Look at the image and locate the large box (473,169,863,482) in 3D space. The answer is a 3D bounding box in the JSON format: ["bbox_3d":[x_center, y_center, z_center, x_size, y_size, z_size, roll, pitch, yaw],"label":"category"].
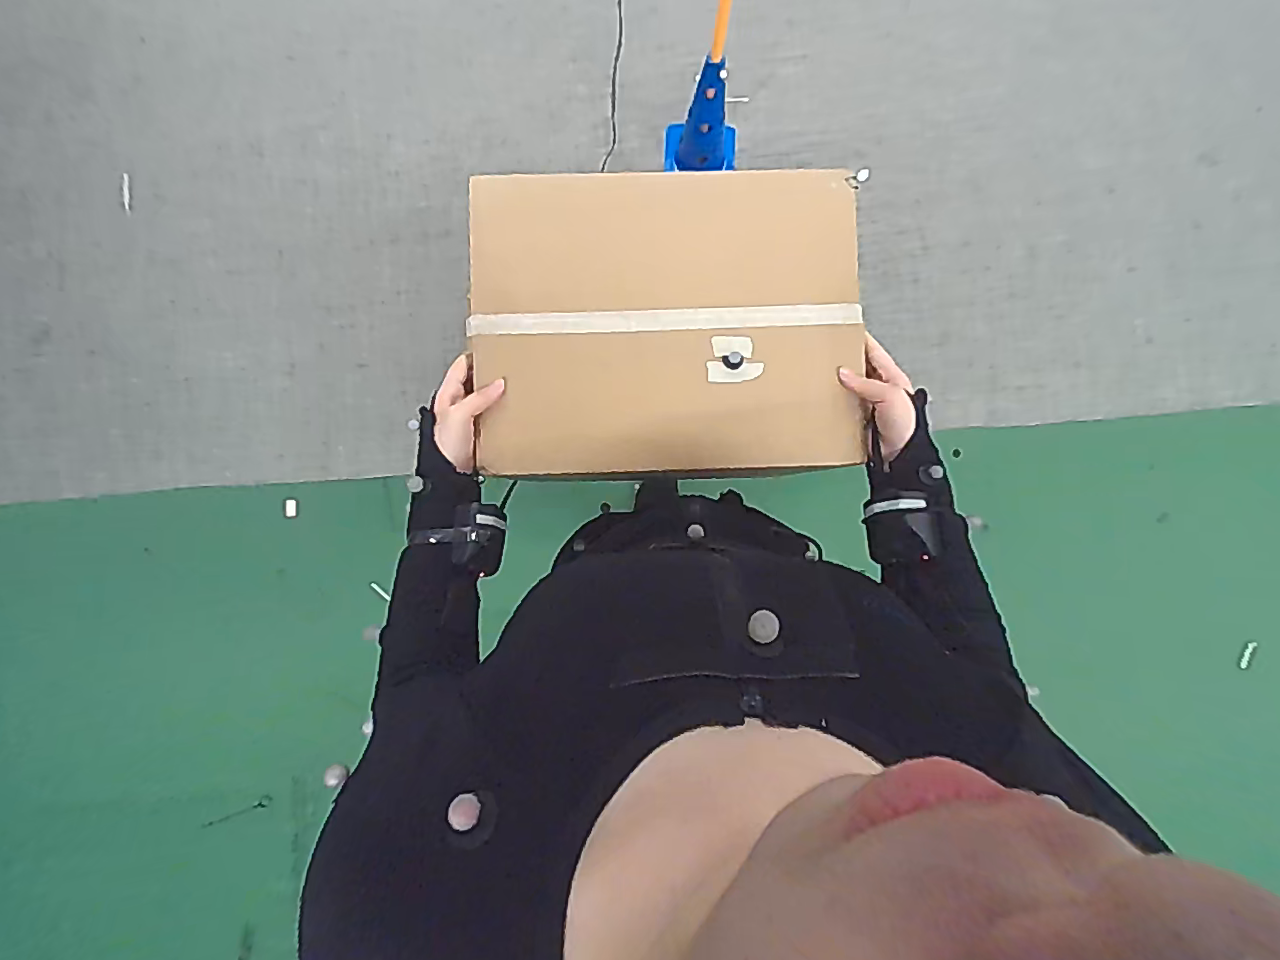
[{"bbox_3d":[0.024,-0.166,0.714,0.408,0.320,0.320,-2,89,-2],"label":"large box"}]

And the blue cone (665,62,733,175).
[{"bbox_3d":[0.167,-0.914,1.379,0.193,0.380,0.192,4,89,1],"label":"blue cone"}]
